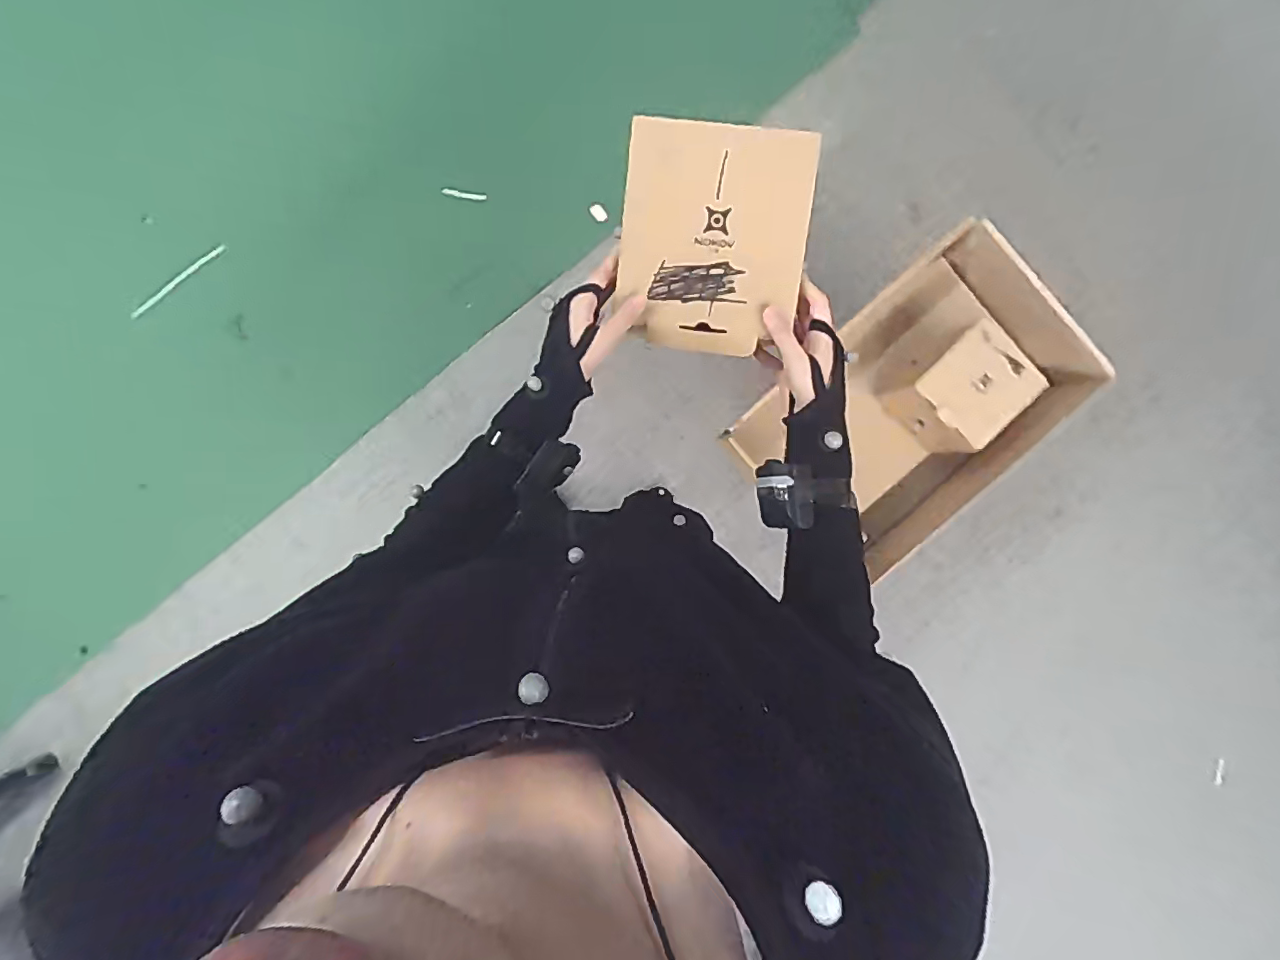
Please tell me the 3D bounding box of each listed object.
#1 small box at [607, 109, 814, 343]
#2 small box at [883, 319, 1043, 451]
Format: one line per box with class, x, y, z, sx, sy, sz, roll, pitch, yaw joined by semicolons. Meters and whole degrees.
small box;0.063;-0.240;0.558;0.168;0.176;0.179;6;100;0
small box;0.596;-0.170;1.032;0.179;0.176;0.168;-44;92;2
